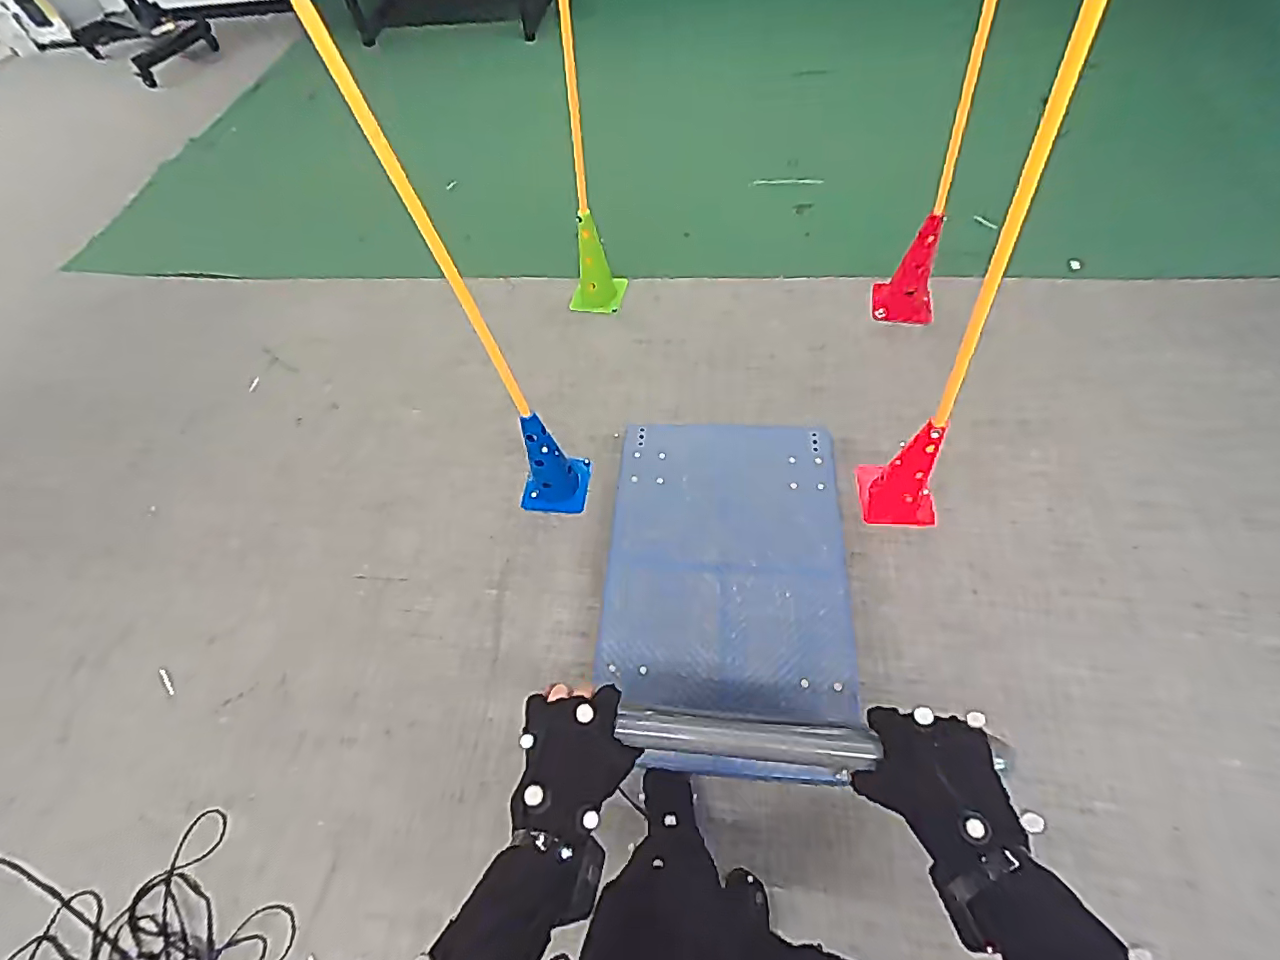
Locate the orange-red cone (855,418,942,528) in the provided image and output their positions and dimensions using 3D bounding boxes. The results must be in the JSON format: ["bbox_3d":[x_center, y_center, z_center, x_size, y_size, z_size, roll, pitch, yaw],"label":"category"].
[{"bbox_3d":[0.722,-0.040,1.442,0.199,0.360,0.198,2,58,9],"label":"orange-red cone"}]

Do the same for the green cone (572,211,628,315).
[{"bbox_3d":[-0.175,-0.823,2.011,0.202,0.368,0.200,7,59,11],"label":"green cone"}]
